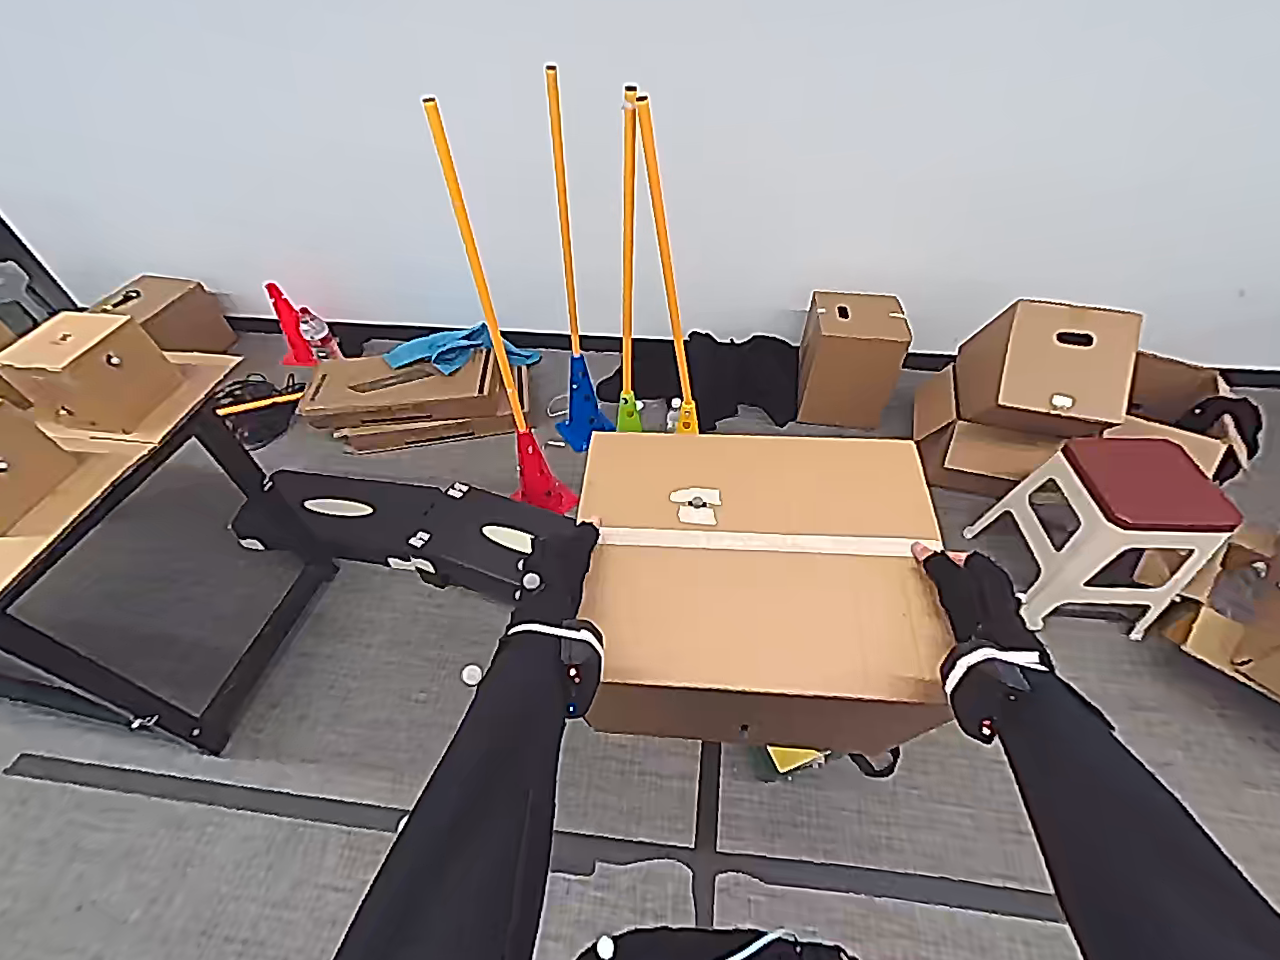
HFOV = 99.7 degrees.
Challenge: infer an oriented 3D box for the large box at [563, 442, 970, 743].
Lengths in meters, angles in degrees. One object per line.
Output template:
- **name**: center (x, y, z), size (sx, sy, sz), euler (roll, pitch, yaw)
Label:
- **large box**: center (0.139, 0.162, 0.735), size (0.408, 0.320, 0.320), euler (2, 55, 5)
